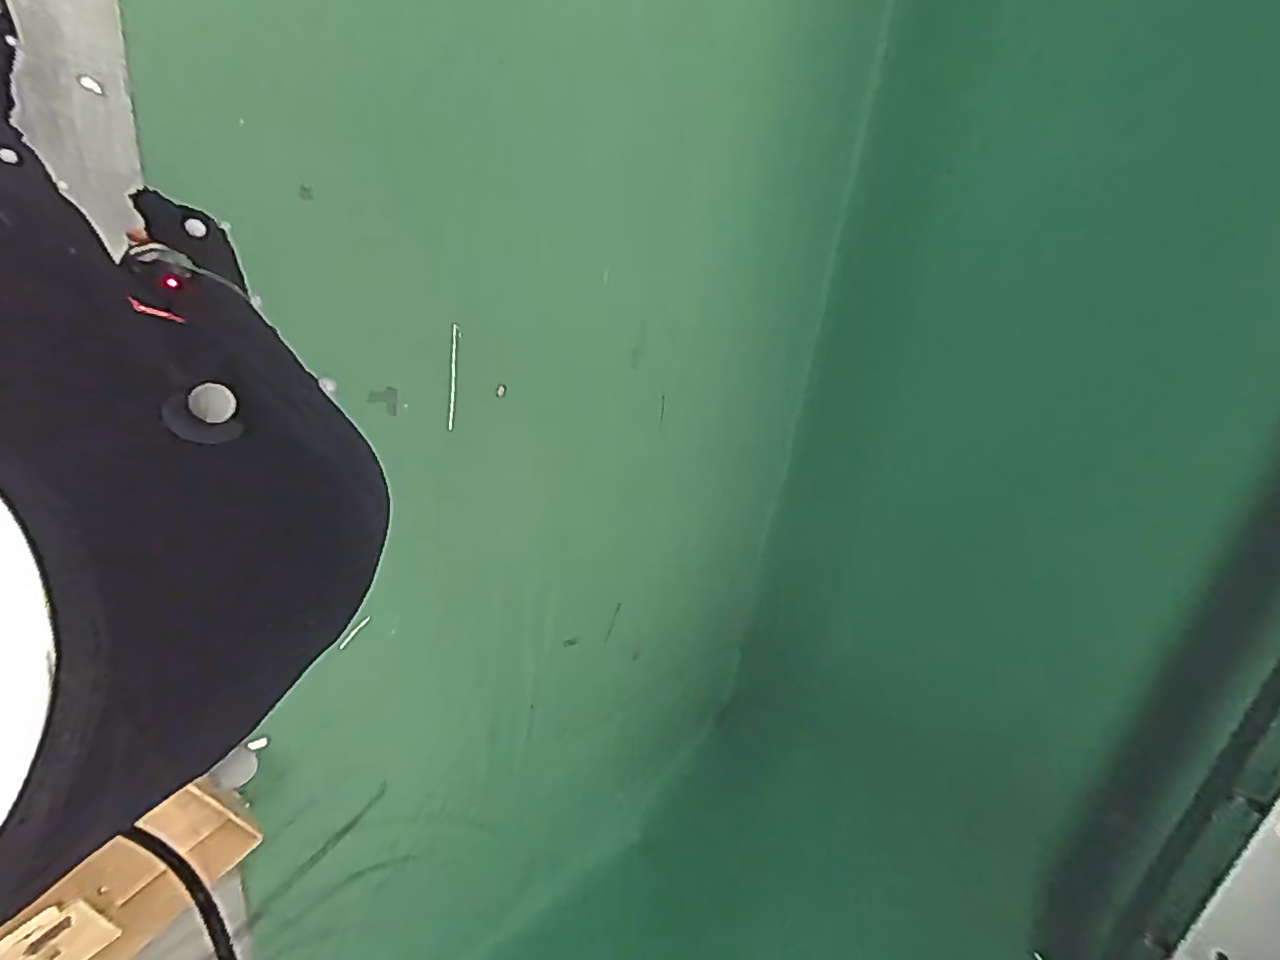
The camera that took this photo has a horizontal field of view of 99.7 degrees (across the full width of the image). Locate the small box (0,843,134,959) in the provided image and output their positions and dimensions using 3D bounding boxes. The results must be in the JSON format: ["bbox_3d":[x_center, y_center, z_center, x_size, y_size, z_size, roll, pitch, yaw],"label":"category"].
[{"bbox_3d":[-1.266,0.940,1.177,0.168,0.176,0.179,-33,133,-39],"label":"small box"}]
